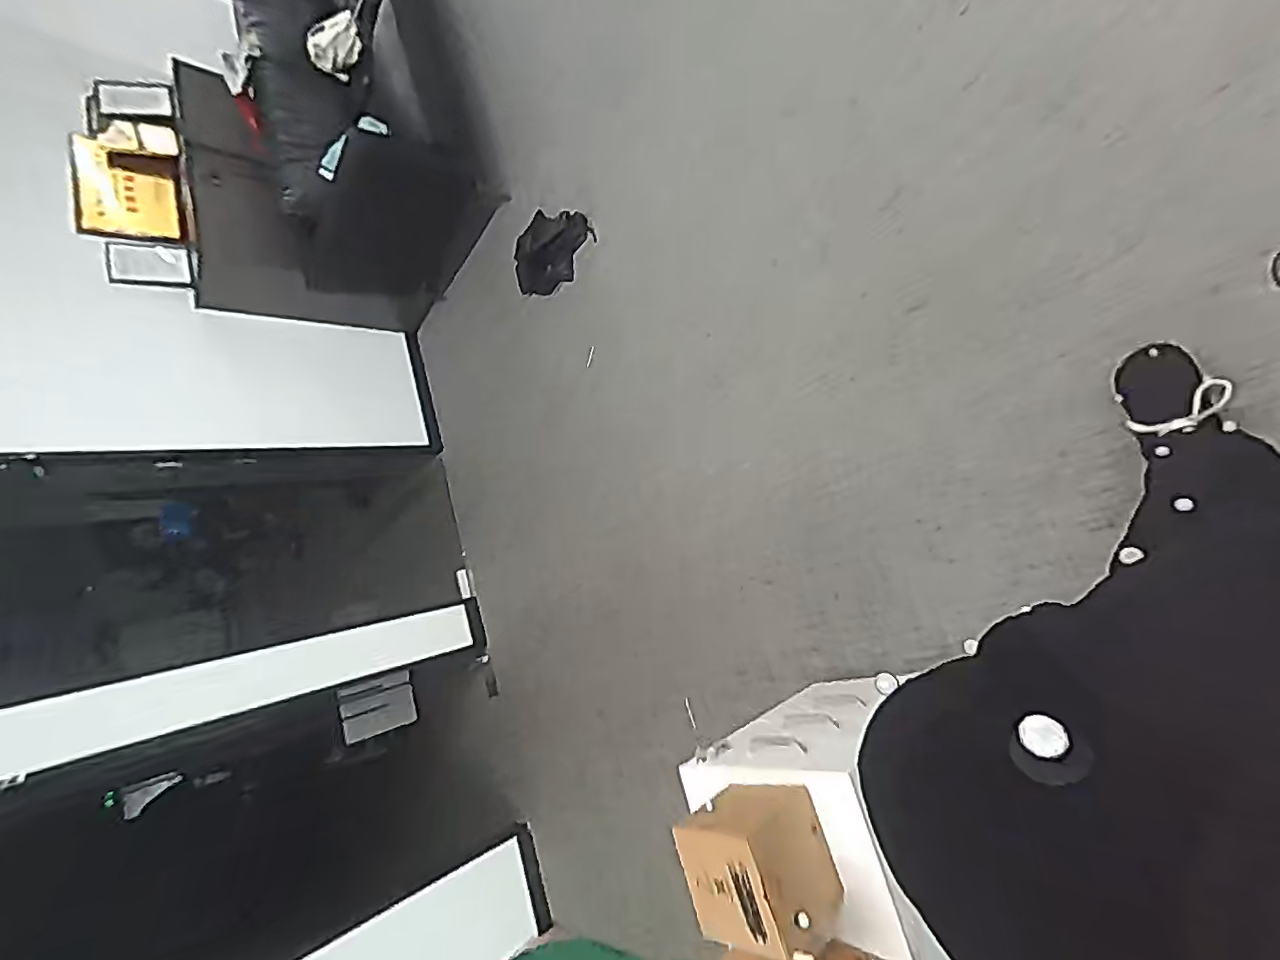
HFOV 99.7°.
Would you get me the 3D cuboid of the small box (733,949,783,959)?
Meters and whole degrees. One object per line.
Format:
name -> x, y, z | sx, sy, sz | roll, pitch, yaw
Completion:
small box -> 0.210, 0.929, 0.891 | 0.179, 0.176, 0.168 | -25, 74, 44
